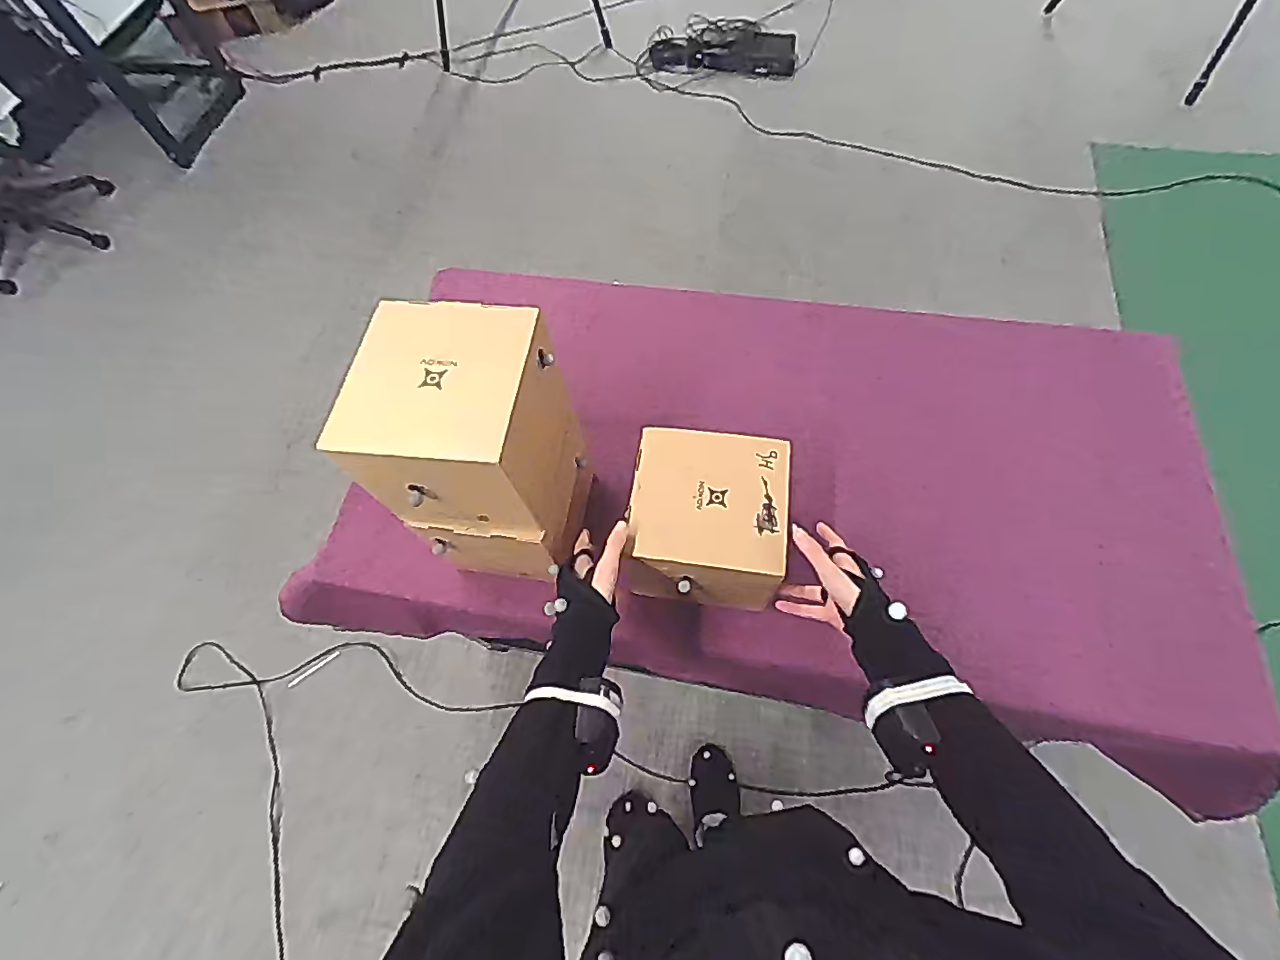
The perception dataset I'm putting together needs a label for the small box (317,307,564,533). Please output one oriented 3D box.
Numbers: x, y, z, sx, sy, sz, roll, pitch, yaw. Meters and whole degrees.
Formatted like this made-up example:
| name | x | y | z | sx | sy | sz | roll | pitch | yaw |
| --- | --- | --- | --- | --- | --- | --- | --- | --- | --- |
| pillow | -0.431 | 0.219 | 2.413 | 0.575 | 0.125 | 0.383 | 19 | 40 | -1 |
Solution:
| name | x | y | z | sx | sy | sz | roll | pitch | yaw |
| --- | --- | --- | --- | --- | --- | --- | --- | --- | --- |
| small box | -0.185 | -0.056 | 0.565 | 0.168 | 0.176 | 0.179 | 4 | 63 | 6 |
